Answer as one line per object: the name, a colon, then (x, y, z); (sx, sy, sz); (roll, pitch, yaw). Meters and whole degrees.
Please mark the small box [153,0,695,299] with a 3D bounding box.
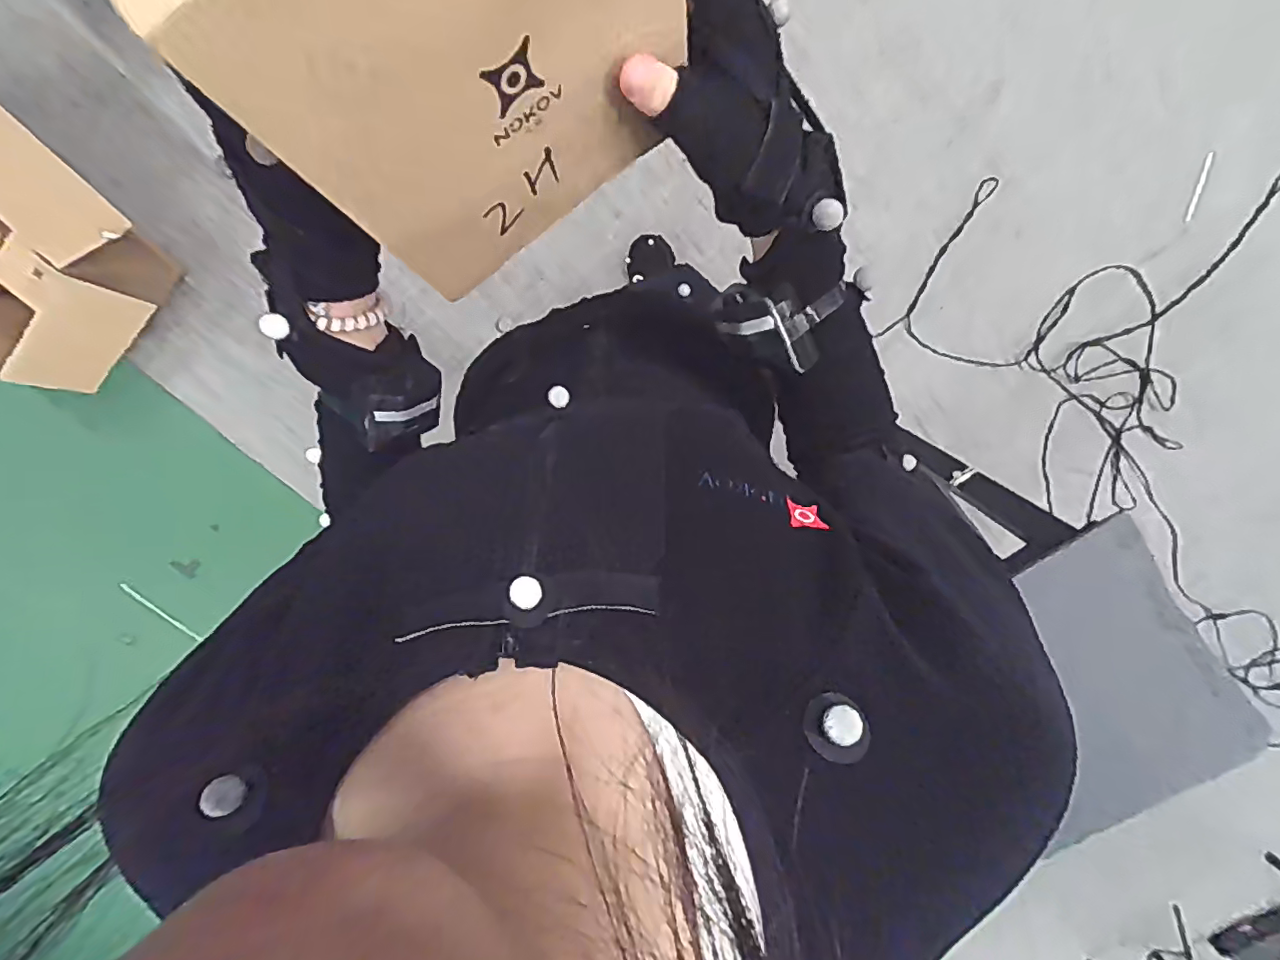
small box: (-0.093, -0.218, 0.221); (0.168, 0.179, 0.176); (-37, 83, 2)
